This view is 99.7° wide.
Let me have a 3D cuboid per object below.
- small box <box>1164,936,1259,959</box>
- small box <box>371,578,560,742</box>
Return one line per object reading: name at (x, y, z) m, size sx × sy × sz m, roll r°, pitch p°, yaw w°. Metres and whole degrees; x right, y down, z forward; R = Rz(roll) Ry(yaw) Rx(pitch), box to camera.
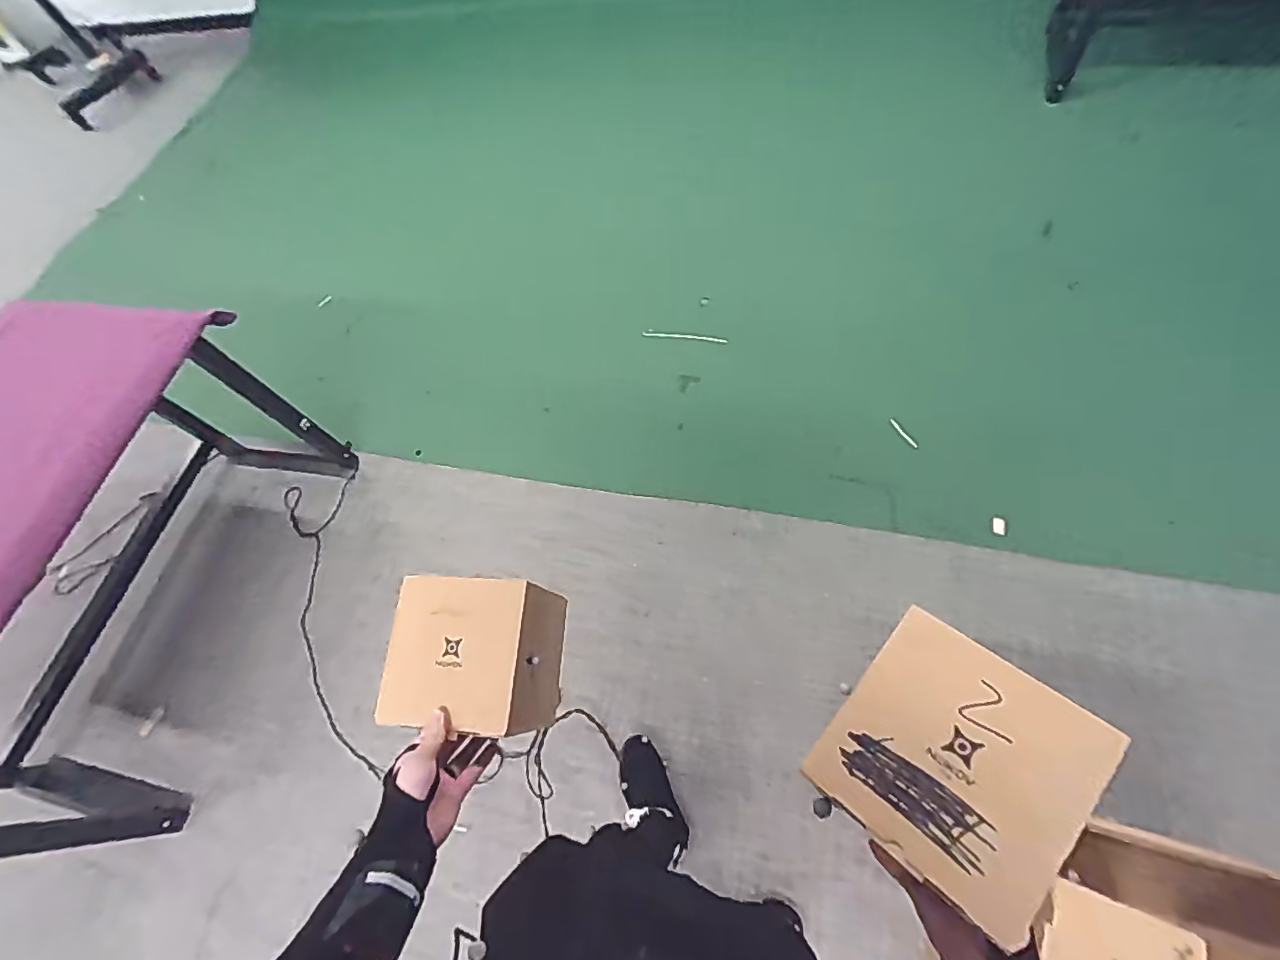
small box at (0.851, 0.739, 0.704) m, size 0.179 × 0.176 × 0.168 m, roll 10°, pitch 65°, yaw 15°
small box at (-0.213, 0.233, 0.712) m, size 0.168 × 0.176 × 0.179 m, roll 1°, pitch 70°, yaw 10°
